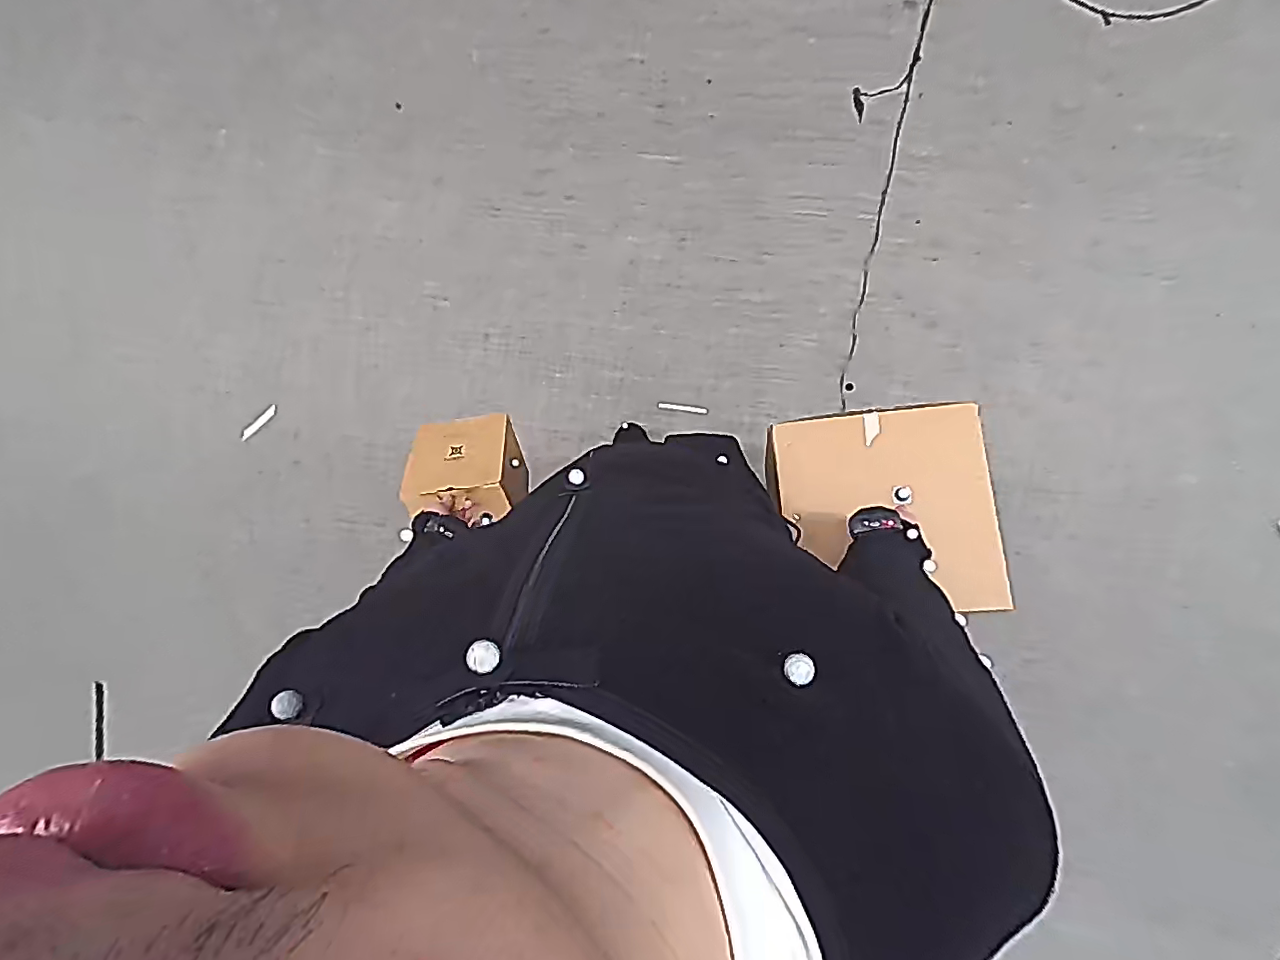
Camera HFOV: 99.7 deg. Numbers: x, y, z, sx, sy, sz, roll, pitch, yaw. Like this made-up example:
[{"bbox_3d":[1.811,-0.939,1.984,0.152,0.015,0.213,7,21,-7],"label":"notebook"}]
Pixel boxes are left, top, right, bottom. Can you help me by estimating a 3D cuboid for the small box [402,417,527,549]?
[{"bbox_3d":[-0.307,0.012,0.986,0.168,0.179,0.176,-8,138,-1],"label":"small box"}]
